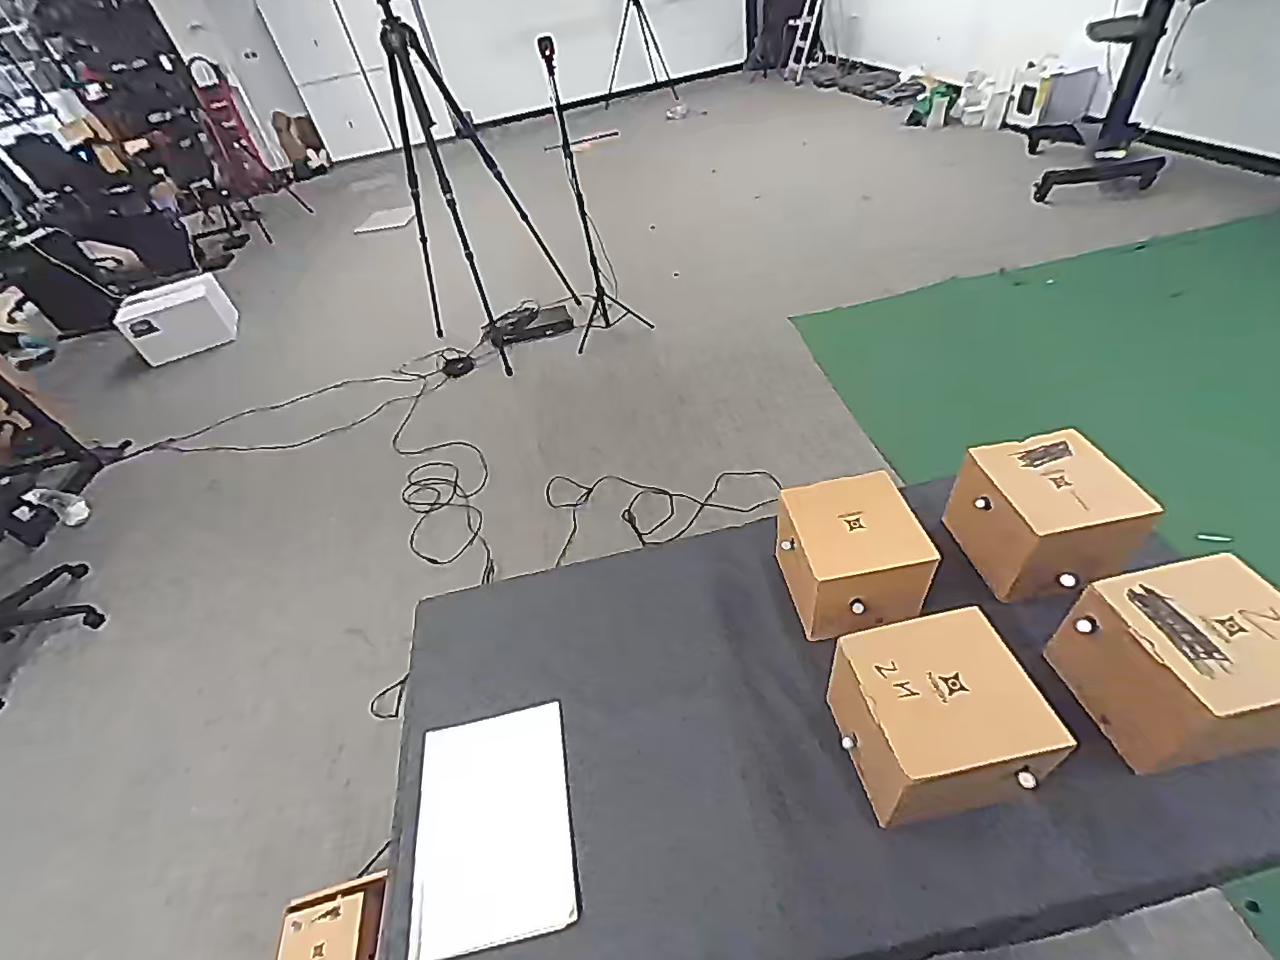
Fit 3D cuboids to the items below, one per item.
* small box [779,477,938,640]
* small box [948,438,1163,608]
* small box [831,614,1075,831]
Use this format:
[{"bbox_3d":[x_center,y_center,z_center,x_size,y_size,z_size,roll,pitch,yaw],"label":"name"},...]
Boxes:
[{"bbox_3d":[0.317,0.126,0.822,0.168,0.176,0.179,-11,43,2],"label":"small box"},{"bbox_3d":[0.600,0.066,0.816,0.168,0.176,0.179,-11,44,2],"label":"small box"},{"bbox_3d":[0.345,0.288,0.640,0.179,0.176,0.168,-12,42,0],"label":"small box"}]
